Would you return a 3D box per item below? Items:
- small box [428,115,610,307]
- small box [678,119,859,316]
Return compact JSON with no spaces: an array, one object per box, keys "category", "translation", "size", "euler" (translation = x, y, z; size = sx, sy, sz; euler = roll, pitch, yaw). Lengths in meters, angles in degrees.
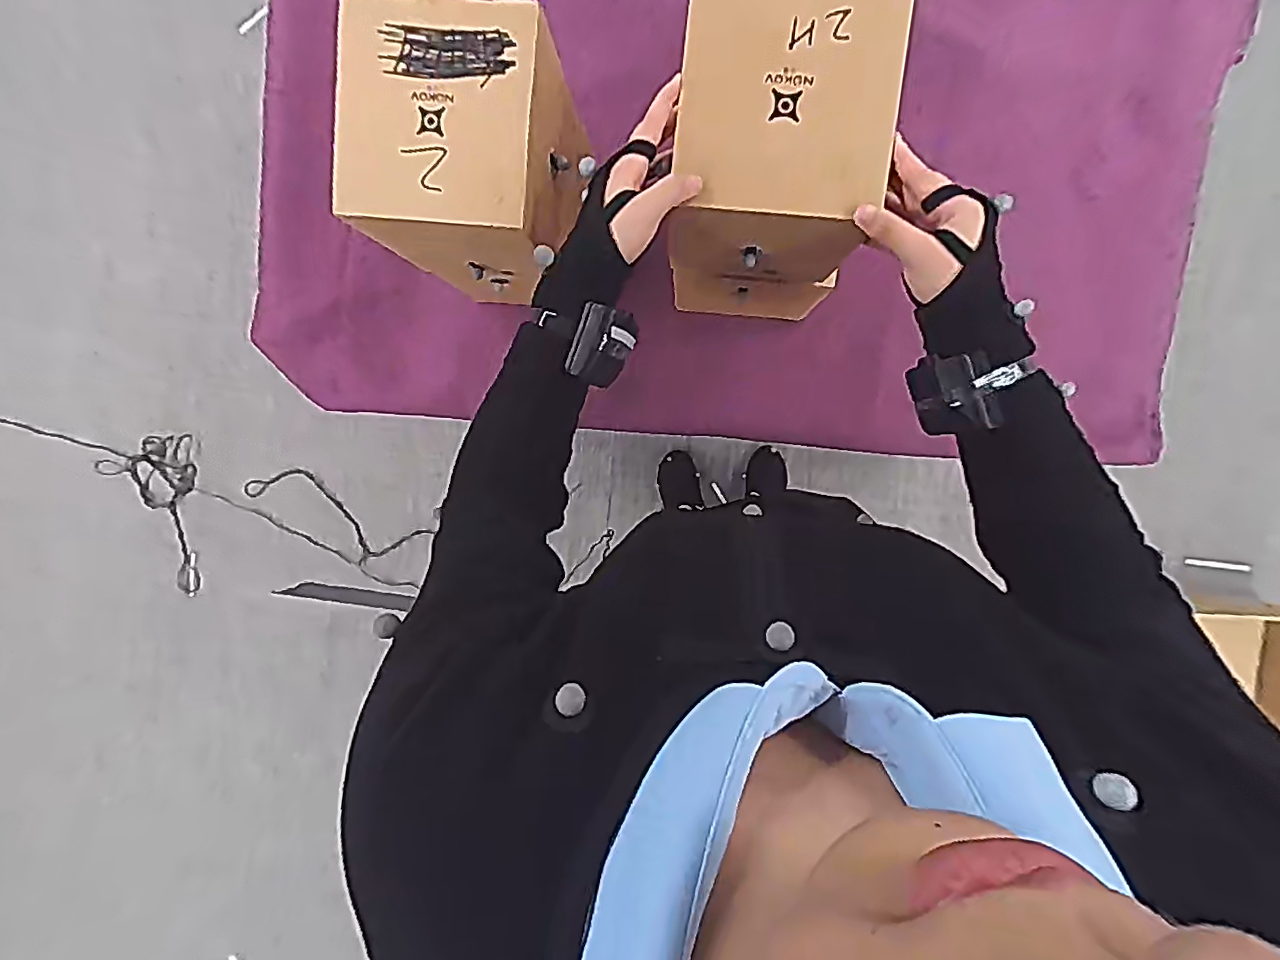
[{"category":"small box","translation":[-0.141,-0.323,0.681],"size":[0.179,0.176,0.168],"euler":[6,96,4]},{"category":"small box","translation":[0.143,-0.303,0.659],"size":[0.179,0.176,0.168],"euler":[7,95,5]}]
